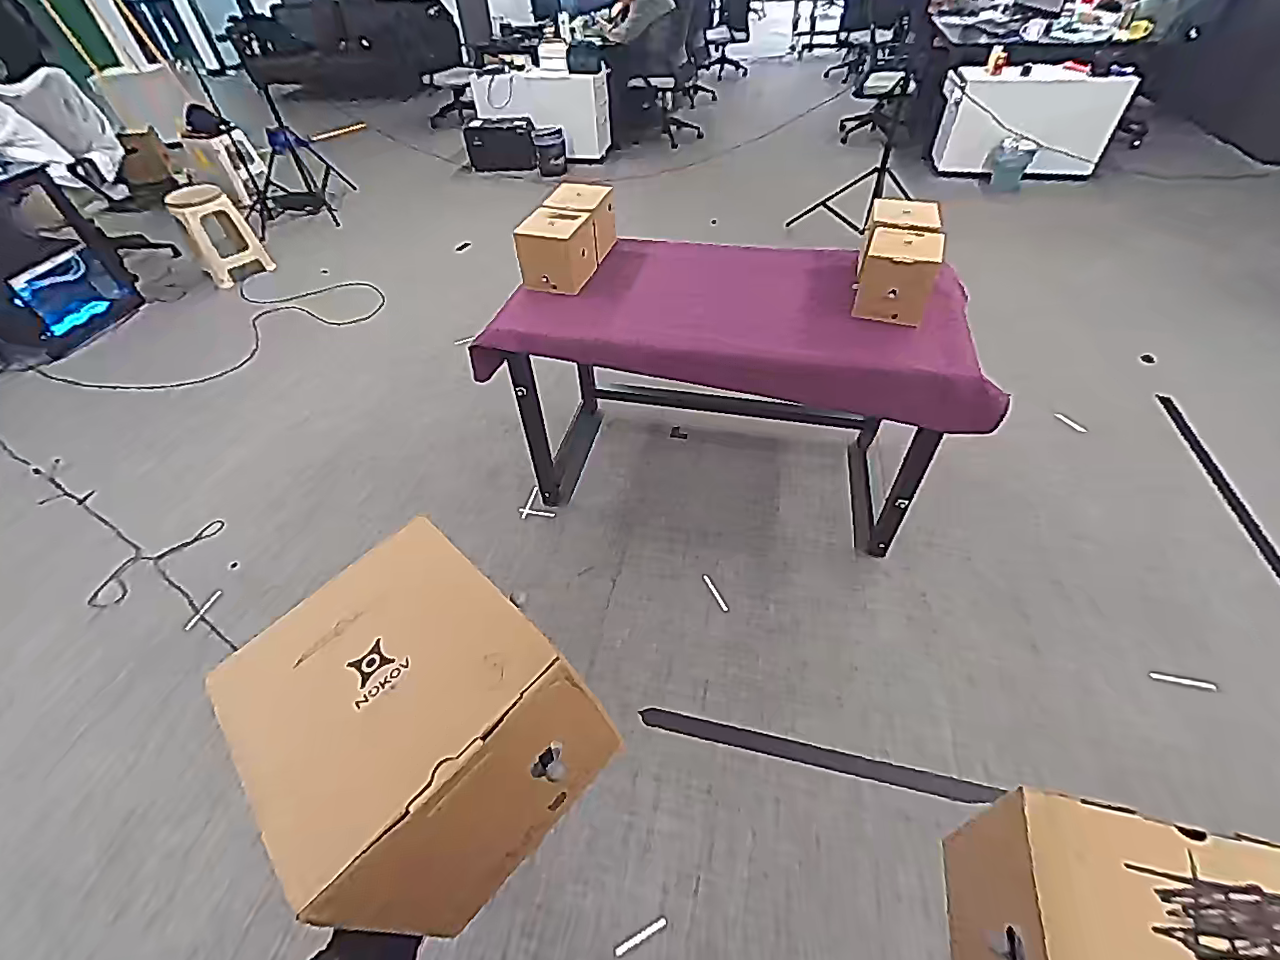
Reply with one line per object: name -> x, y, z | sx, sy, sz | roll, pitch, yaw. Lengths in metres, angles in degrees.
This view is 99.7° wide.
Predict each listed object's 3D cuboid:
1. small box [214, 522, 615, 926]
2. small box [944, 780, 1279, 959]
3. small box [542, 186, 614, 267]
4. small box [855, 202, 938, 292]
small box -> -0.141, 0.169, 0.385 | 0.179, 0.176, 0.168 | 30, 61, 35
small box -> 0.289, 0.305, 0.307 | 0.168, 0.176, 0.179 | 6, 50, 16
small box -> -0.184, -0.787, 1.677 | 0.168, 0.176, 0.179 | 12, 49, 13
small box -> 0.709, -0.651, 1.509 | 0.168, 0.176, 0.179 | 12, 48, 13
